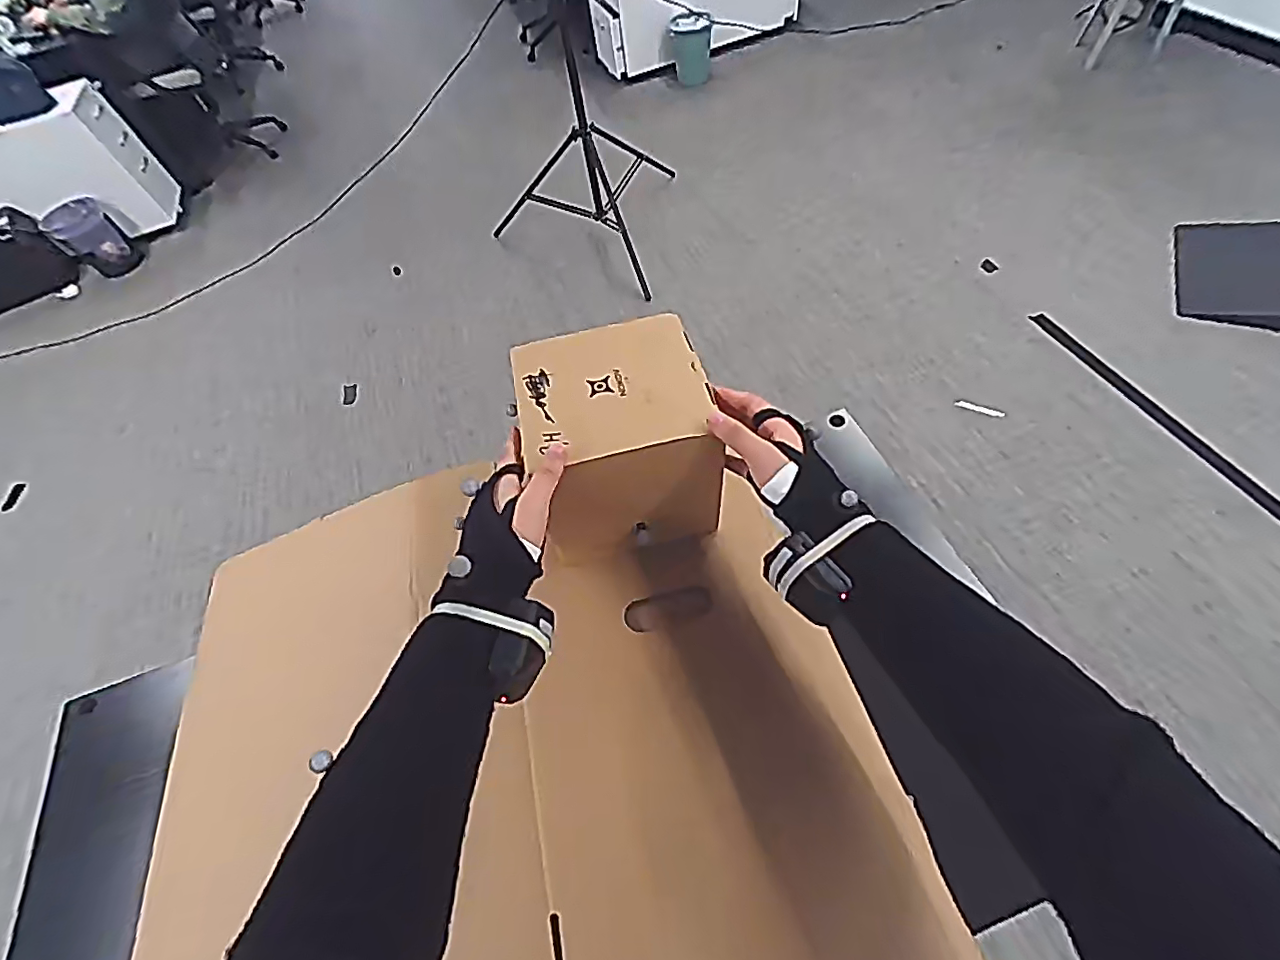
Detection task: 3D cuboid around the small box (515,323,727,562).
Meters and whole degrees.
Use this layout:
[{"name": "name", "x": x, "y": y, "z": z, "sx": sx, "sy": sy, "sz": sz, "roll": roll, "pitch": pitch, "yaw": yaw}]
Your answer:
[{"name": "small box", "x": -0.022, "y": -0.035, "z": 0.571, "sx": 0.179, "sy": 0.176, "sz": 0.168, "roll": -13, "pitch": 54, "yaw": -5}]
